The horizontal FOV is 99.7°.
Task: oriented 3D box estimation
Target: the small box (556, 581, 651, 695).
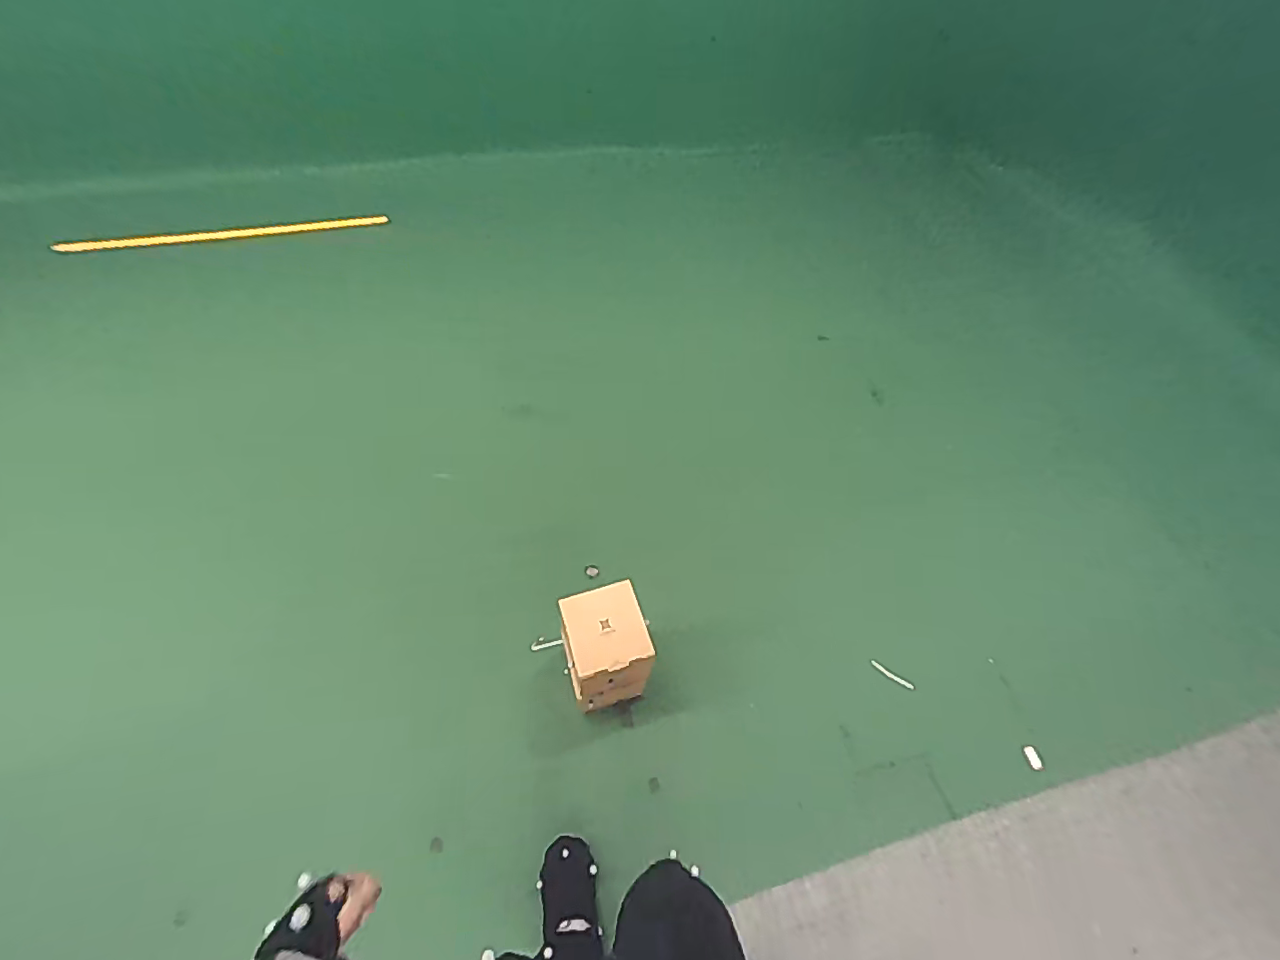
[{"bbox_3d":[-0.087,0.354,1.208,0.168,0.176,0.179,-14,60,-14],"label":"small box"}]
